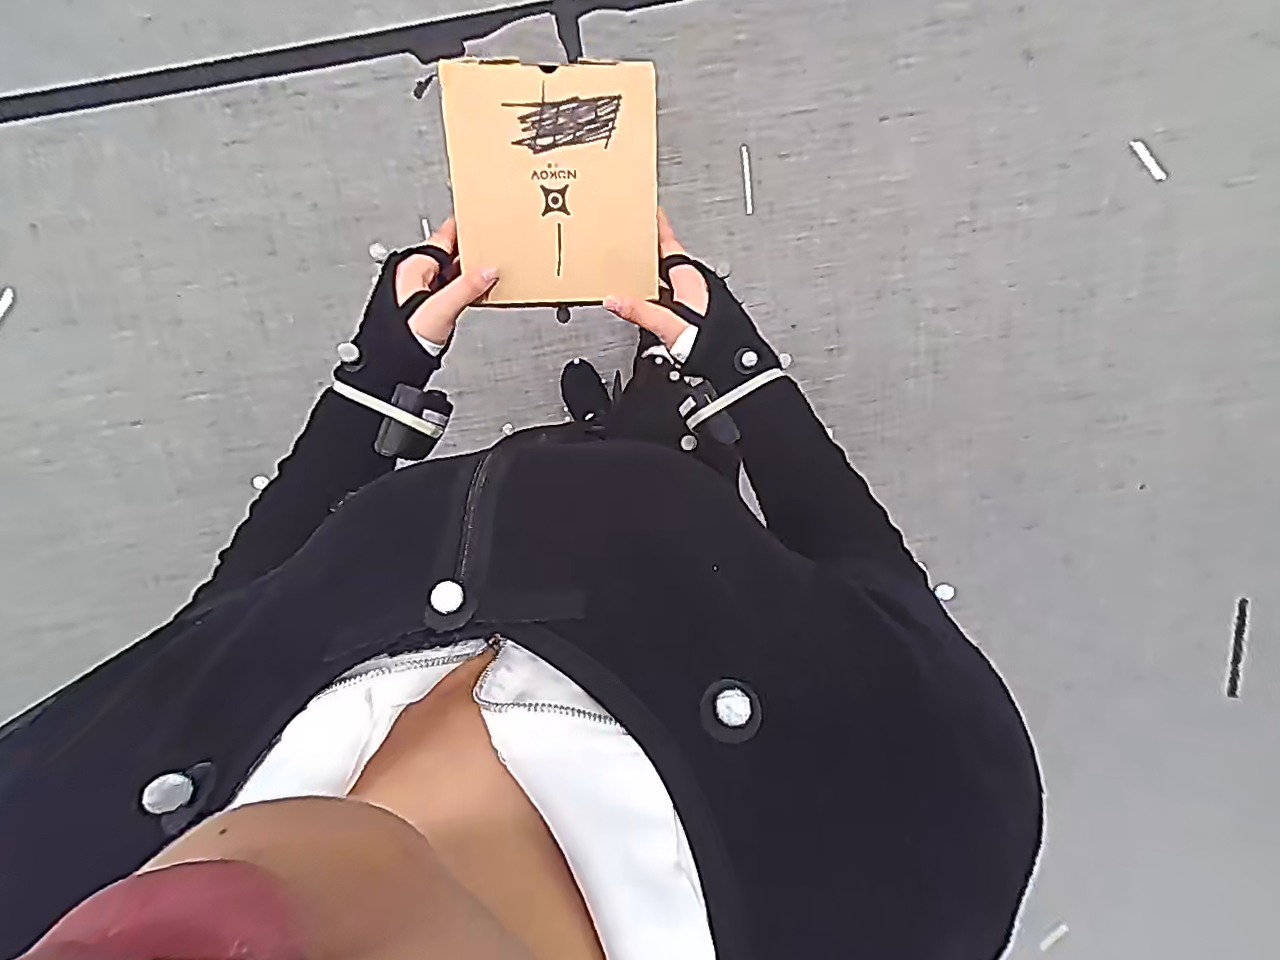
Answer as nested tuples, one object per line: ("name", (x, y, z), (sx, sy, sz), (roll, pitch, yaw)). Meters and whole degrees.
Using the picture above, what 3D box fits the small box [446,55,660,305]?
("small box", (-0.073, -0.260, 0.511), (0.168, 0.176, 0.179), (-2, 108, -5))
